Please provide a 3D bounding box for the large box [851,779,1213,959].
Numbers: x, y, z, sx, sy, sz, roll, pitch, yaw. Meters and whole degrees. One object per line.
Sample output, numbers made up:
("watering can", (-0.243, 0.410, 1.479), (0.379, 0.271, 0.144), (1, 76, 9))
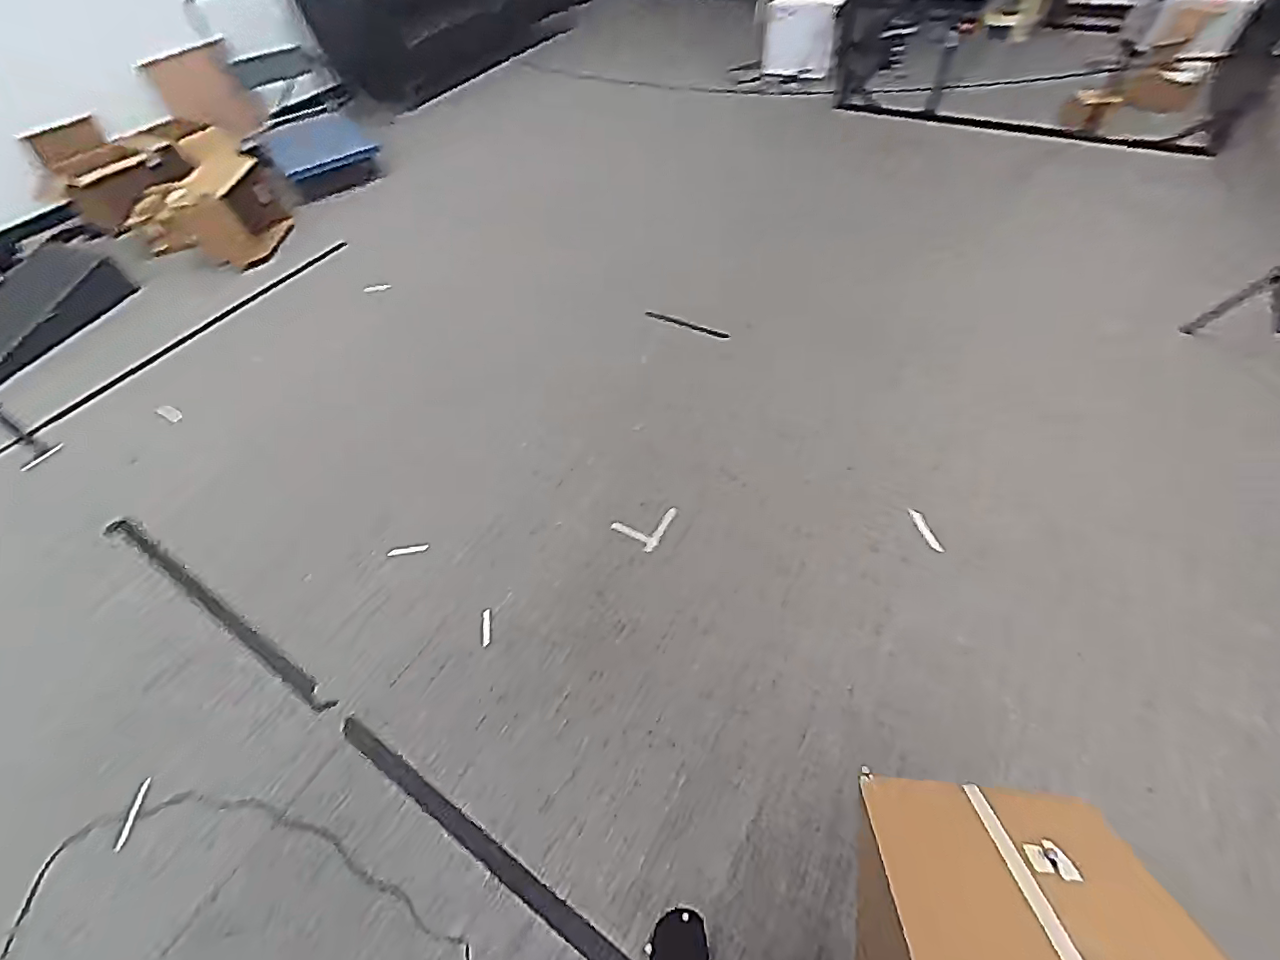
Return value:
("large box", (0.454, 0.638, 0.646), (0.320, 0.408, 0.320), (1, 96, 10))
